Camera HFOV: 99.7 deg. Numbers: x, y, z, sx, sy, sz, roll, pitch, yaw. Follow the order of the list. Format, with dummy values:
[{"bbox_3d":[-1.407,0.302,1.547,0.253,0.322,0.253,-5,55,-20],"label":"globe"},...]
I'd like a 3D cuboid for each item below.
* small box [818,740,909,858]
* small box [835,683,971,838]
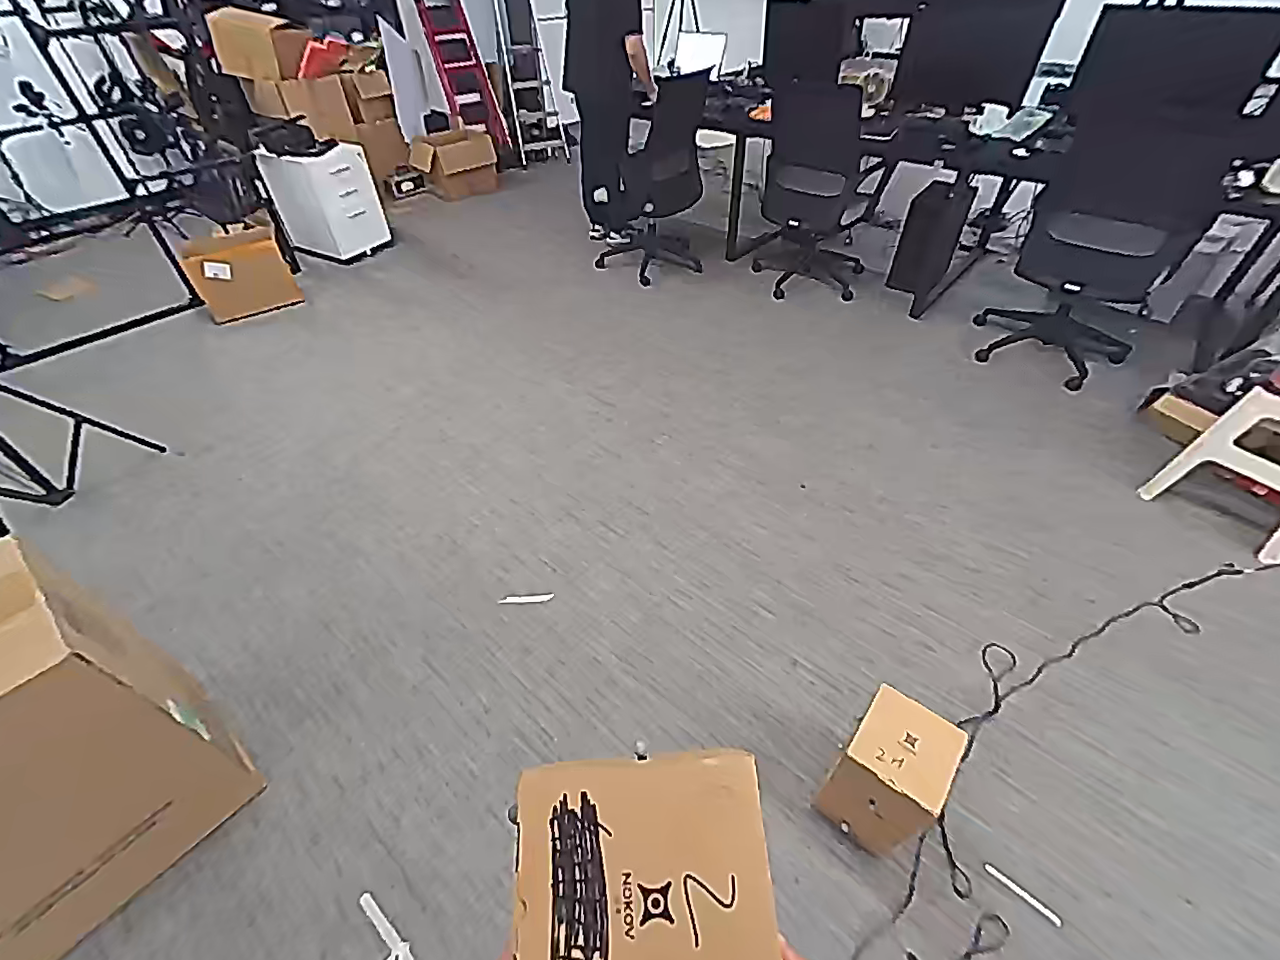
[{"bbox_3d":[0.502,0.659,1.158,0.168,0.176,0.179,30,53,29],"label":"small box"},{"bbox_3d":[0.498,0.541,1.044,0.168,0.176,0.179,28,52,29],"label":"small box"}]
